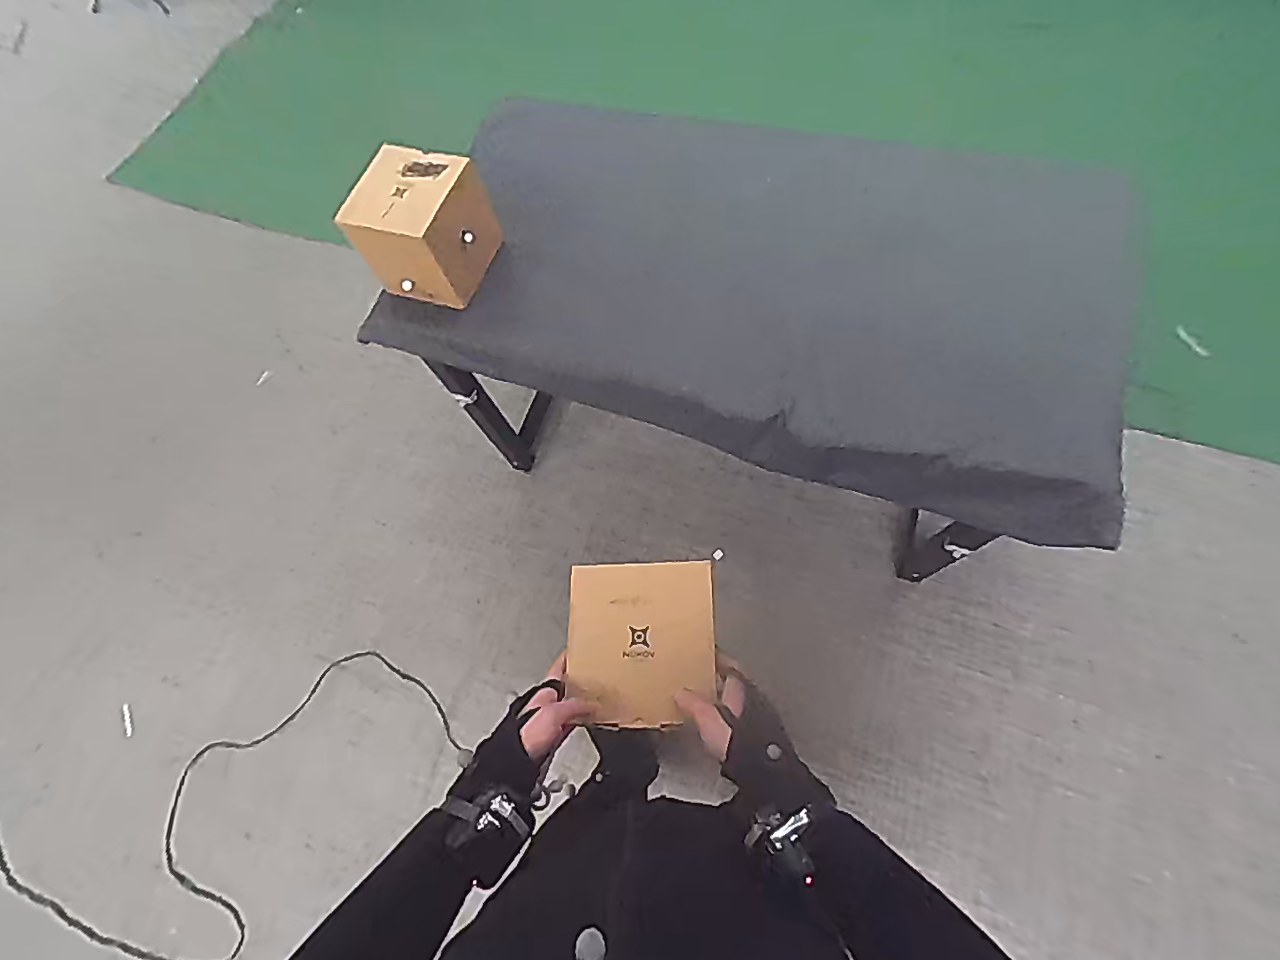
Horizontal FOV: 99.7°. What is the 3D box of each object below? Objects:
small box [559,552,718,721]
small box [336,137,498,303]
[{"bbox_3d":[0.008,0.195,0.657,0.168,0.176,0.179,-3,66,8],"label":"small box"},{"bbox_3d":[-0.363,-0.439,0.924,0.168,0.176,0.179,16,71,12],"label":"small box"}]
